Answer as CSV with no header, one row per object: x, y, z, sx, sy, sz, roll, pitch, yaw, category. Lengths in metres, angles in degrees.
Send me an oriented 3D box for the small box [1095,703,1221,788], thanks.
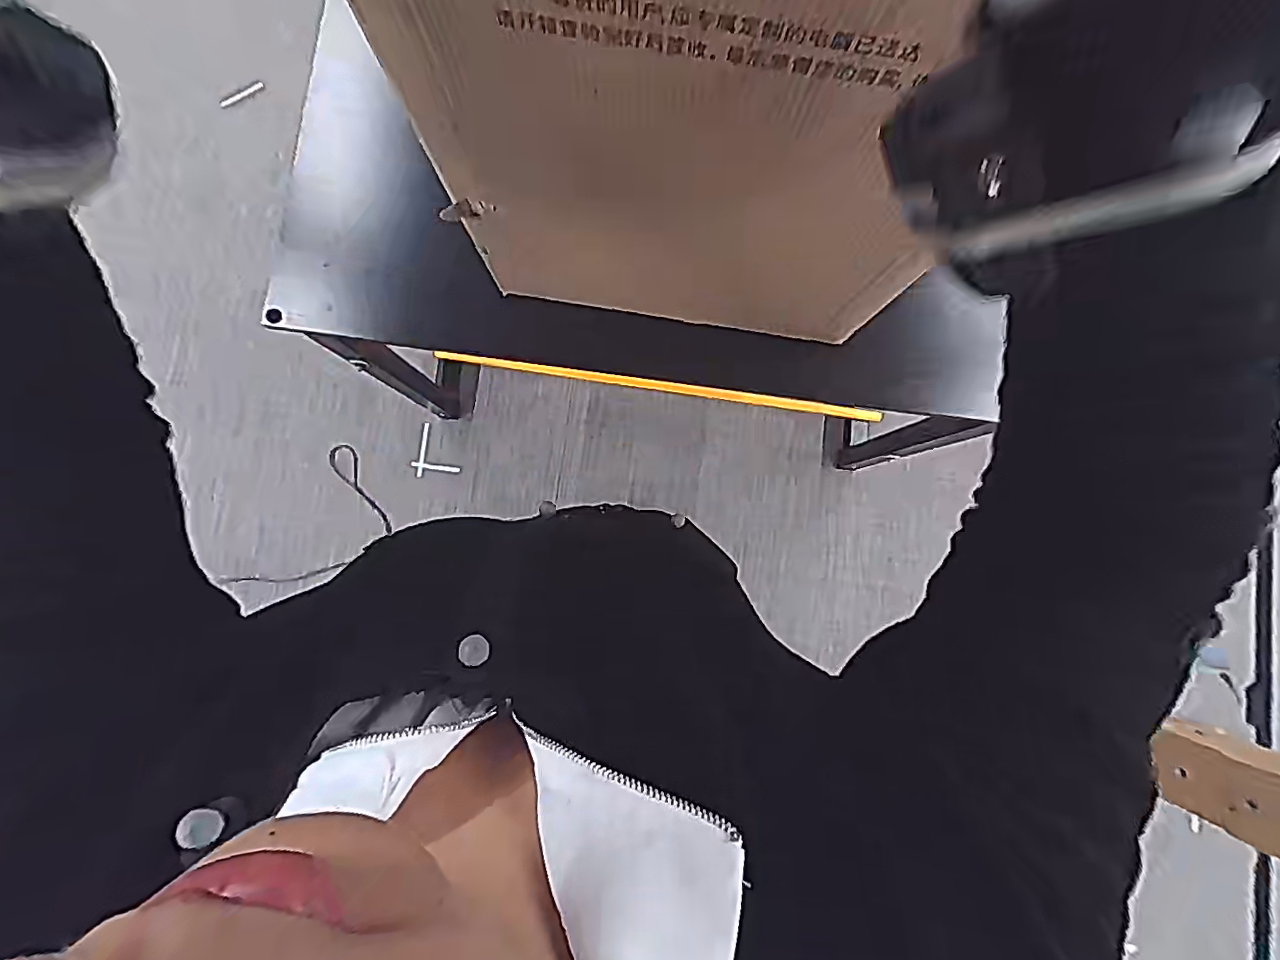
1.352,0.699,1.418,0.179,0.176,0.168,6,83,0,small box

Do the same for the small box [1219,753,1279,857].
1.344,0.667,1.090,0.179,0.176,0.168,1,83,-2,small box

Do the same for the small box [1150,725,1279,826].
1.340,0.685,1.254,0.179,0.176,0.168,6,84,-1,small box
